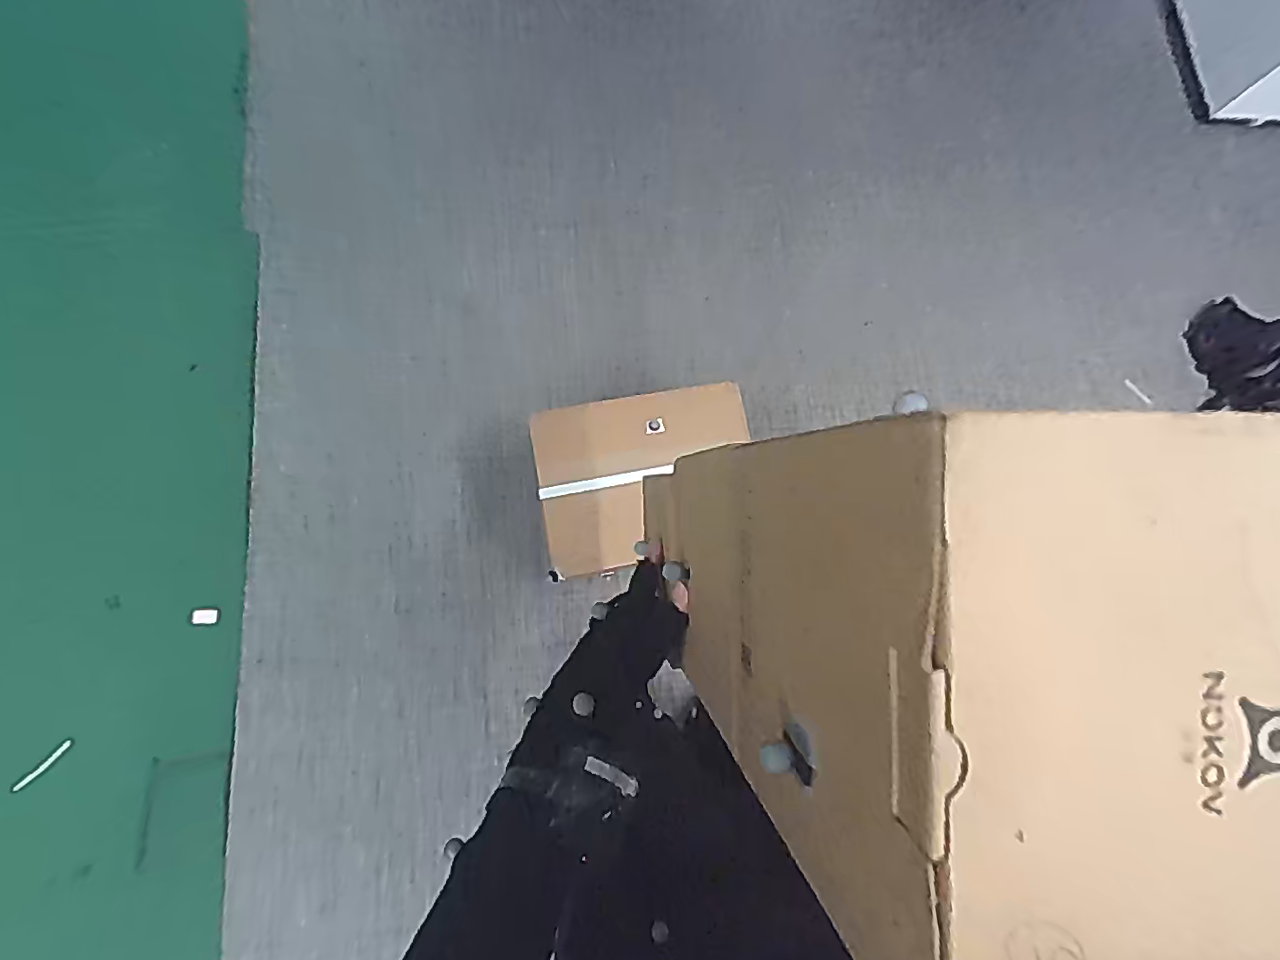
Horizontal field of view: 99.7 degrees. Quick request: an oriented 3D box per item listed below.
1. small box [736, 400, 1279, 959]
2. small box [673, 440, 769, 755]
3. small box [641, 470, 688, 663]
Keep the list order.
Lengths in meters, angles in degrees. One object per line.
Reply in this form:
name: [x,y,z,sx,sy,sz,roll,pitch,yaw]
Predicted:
small box: [0.144,0.060,0.223,0.179,0.176,0.168,-1,92,-9]
small box: [0.119,0.063,0.383,0.168,0.176,0.179,-2,90,-7]
small box: [0.098,0.072,0.544,0.179,0.176,0.168,-1,89,-7]
